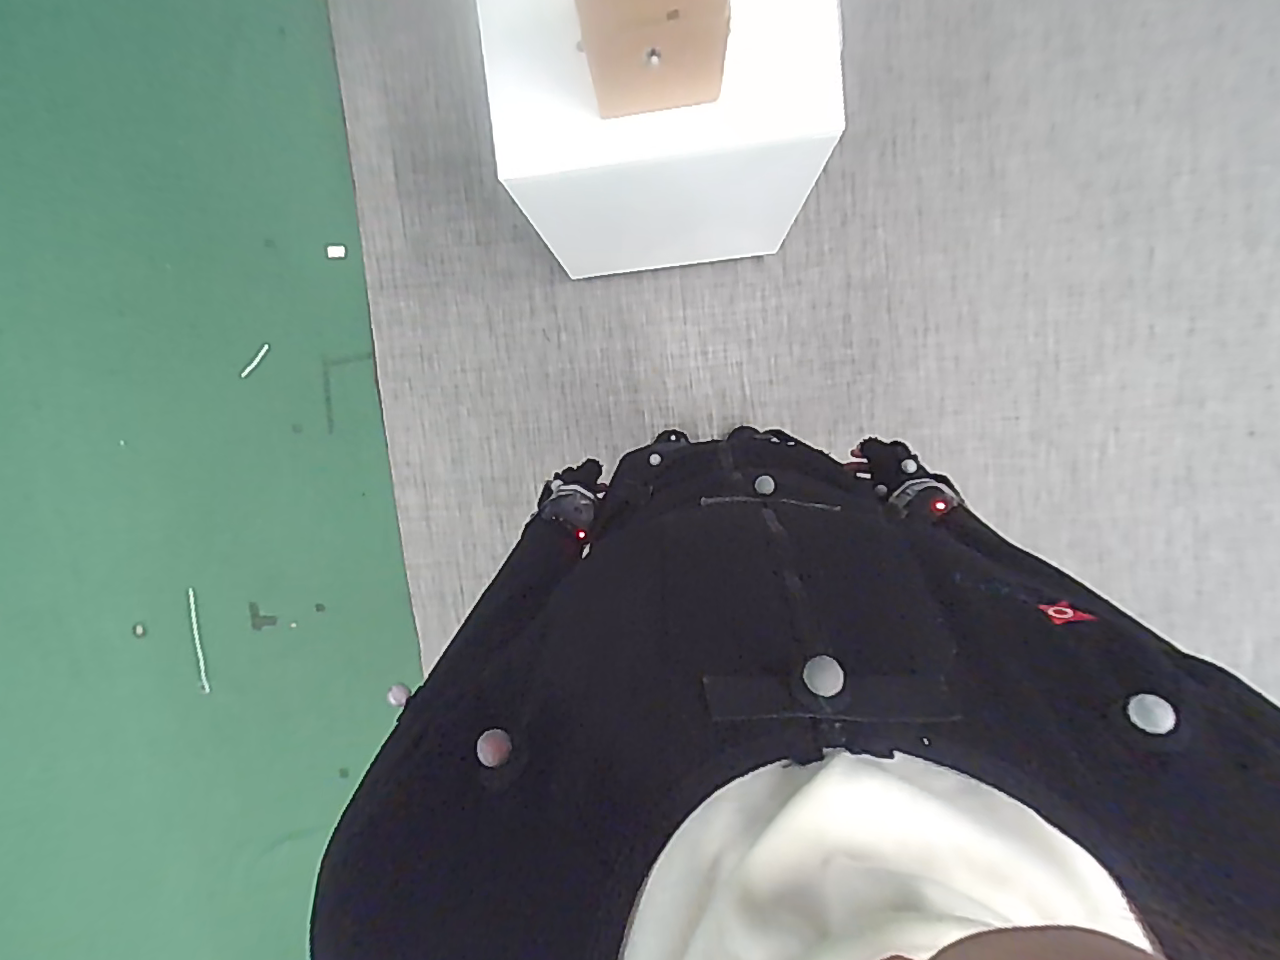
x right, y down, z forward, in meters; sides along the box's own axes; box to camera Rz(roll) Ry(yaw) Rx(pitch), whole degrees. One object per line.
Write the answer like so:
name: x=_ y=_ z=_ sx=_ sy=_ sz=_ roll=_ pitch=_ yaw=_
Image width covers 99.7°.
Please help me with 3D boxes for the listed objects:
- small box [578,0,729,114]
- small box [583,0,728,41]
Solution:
small box: x=0.016 y=-0.610 z=0.701 sx=0.179 sy=0.176 sz=0.168 roll=-6 pitch=96 yaw=4
small box: x=0.006 y=-0.598 z=0.540 sx=0.168 sy=0.176 sz=0.179 roll=-7 pitch=96 yaw=4
